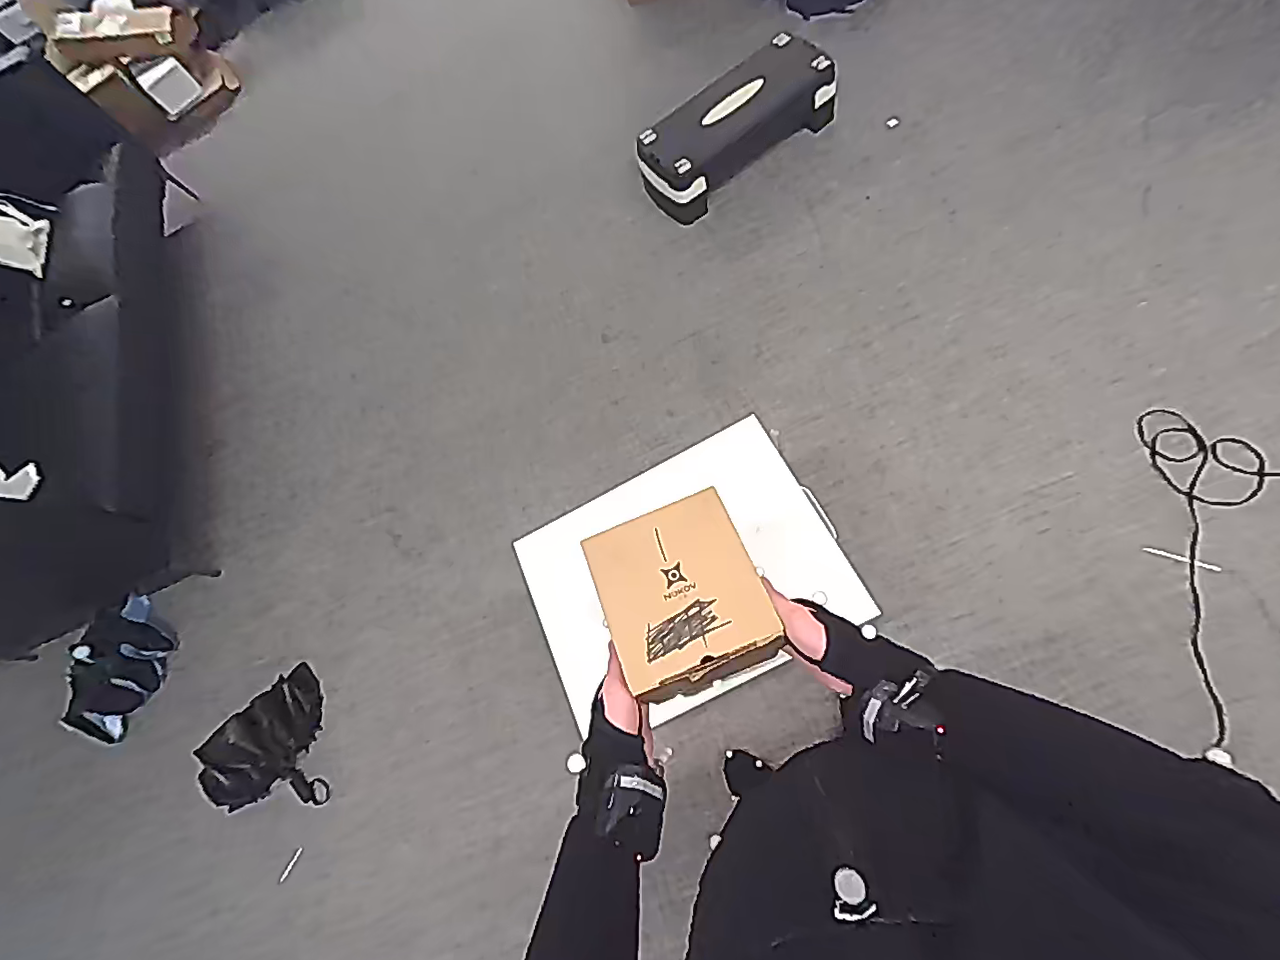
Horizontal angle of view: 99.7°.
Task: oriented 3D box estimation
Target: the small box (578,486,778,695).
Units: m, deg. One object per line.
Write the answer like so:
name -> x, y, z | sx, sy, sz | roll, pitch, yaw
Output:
small box -> 0.048, 0.140, 0.635 | 0.168, 0.176, 0.179 | -23, 63, -1
